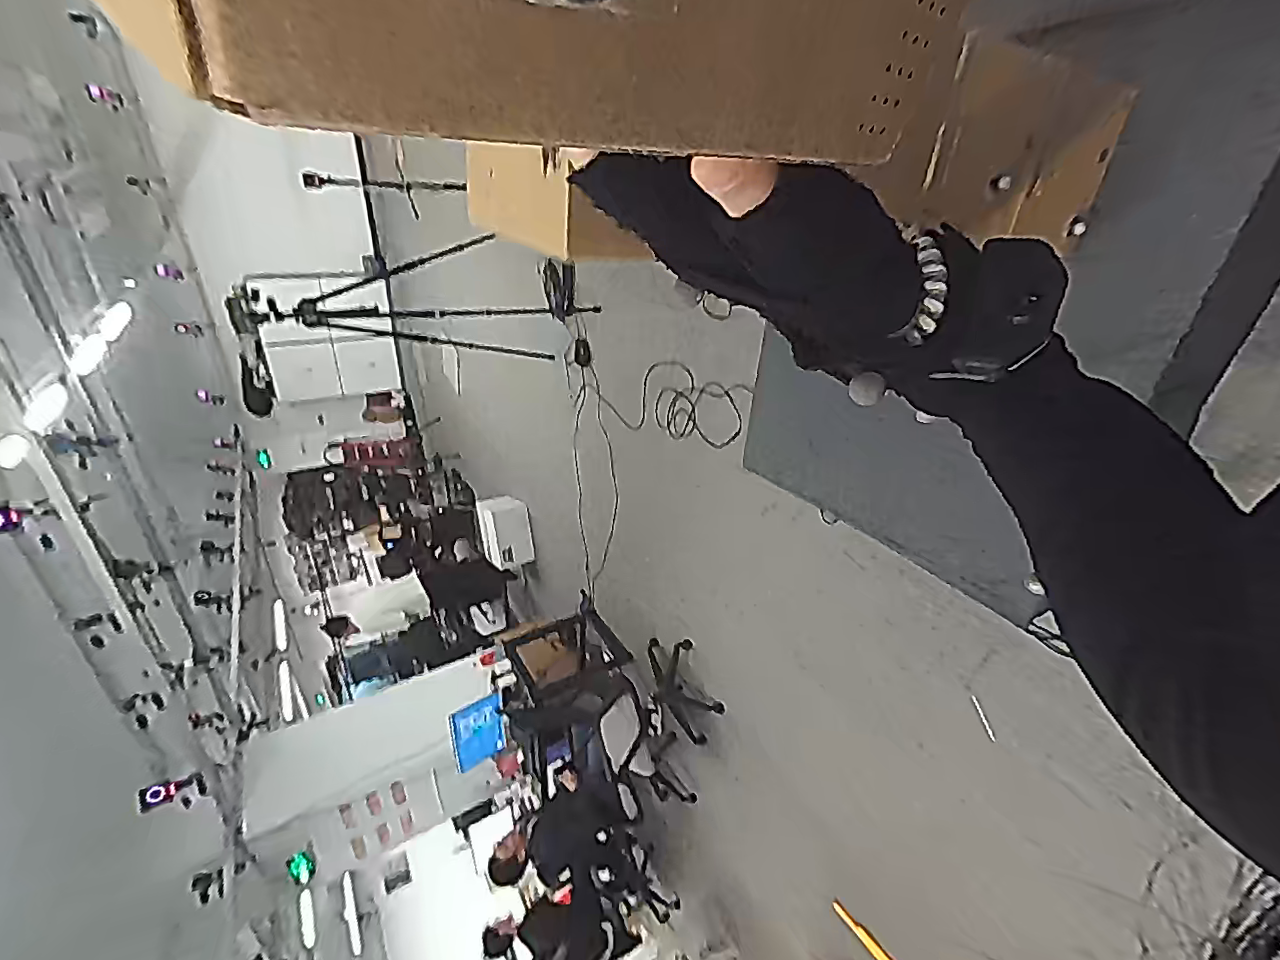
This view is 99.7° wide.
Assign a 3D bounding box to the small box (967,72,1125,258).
[{"bbox_3d":[0.409,-0.361,0.635,0.179,0.176,0.168,39,135,48],"label":"small box"}]

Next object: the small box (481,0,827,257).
[{"bbox_3d":[-0.003,-0.260,0.389,0.179,0.176,0.168,42,136,45],"label":"small box"}]

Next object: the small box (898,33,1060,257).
[{"bbox_3d":[0.272,-0.327,0.555,0.179,0.176,0.168,38,134,47],"label":"small box"}]
